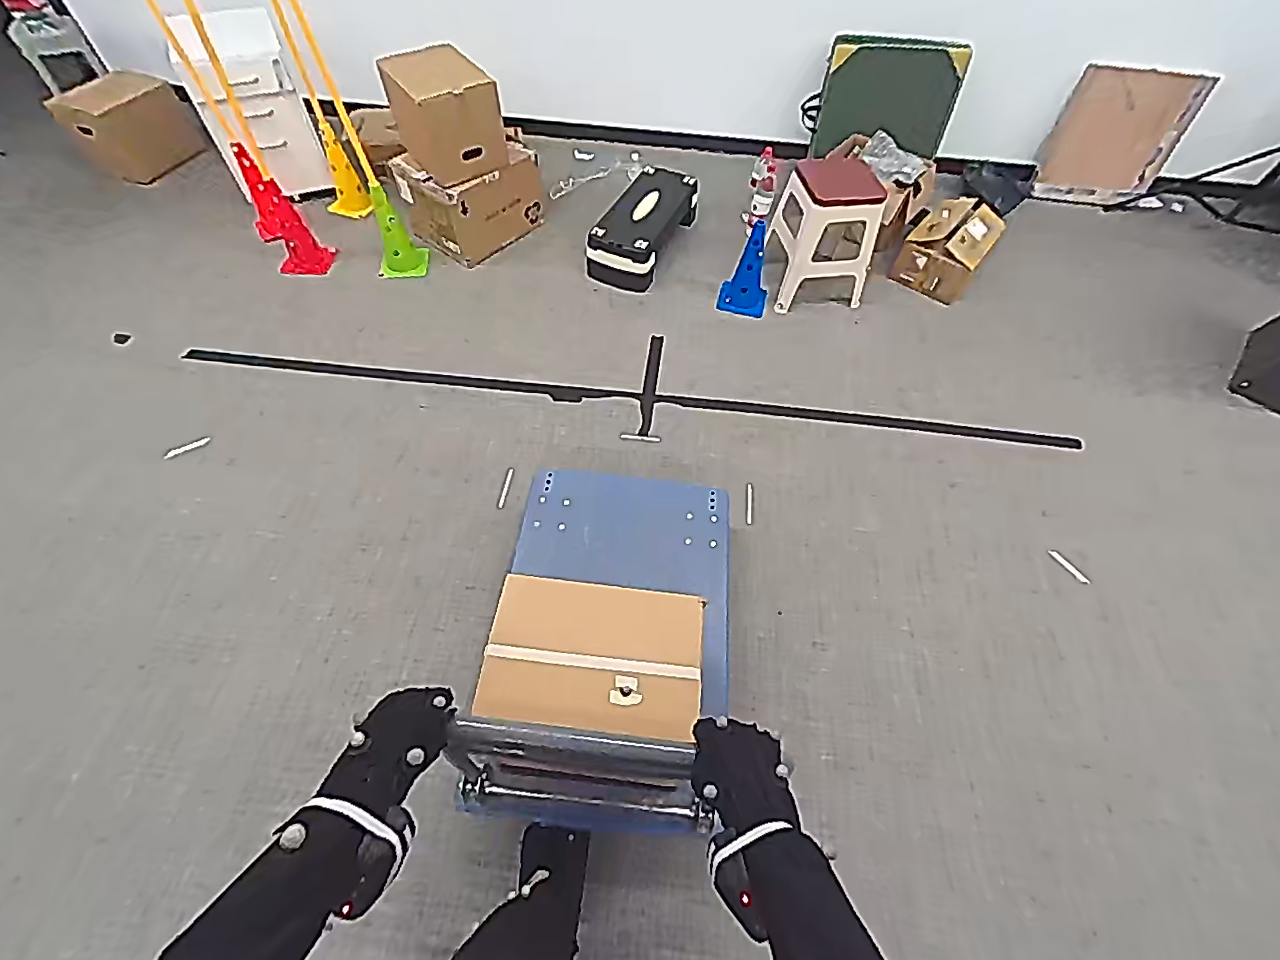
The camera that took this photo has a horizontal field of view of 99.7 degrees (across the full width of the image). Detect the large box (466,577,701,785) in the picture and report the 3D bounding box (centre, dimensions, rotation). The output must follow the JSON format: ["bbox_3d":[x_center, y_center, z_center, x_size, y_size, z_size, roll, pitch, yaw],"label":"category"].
[{"bbox_3d":[-0.101,0.427,1.127,0.408,0.320,0.320,7,56,0],"label":"large box"}]
